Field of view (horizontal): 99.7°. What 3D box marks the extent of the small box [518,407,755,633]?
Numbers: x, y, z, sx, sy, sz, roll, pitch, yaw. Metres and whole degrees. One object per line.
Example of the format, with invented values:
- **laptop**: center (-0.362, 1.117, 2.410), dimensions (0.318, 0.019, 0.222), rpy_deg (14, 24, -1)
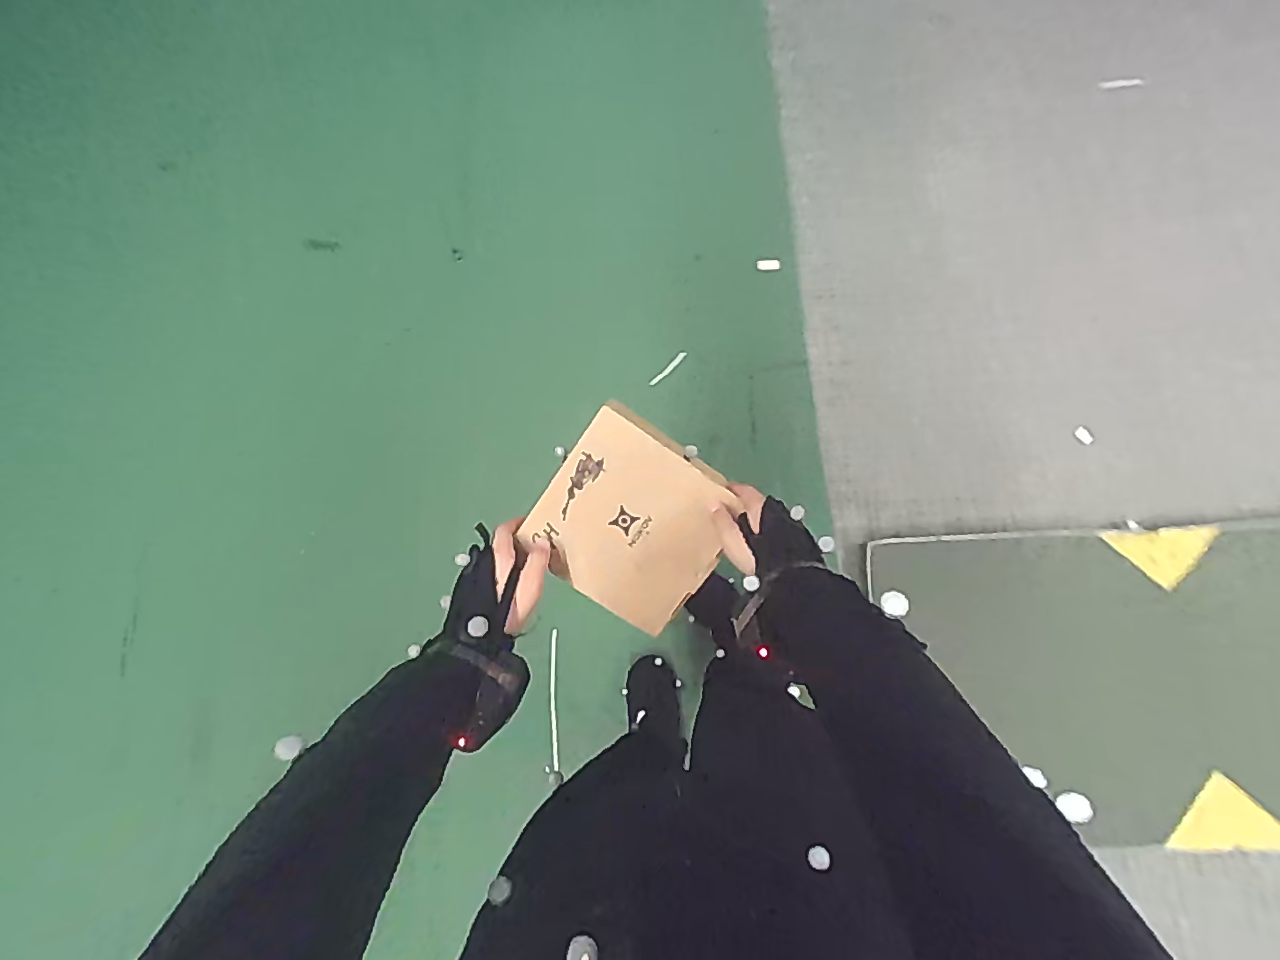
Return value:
- **small box**: center (-0.004, 0.029, 0.603), dimensions (0.179, 0.176, 0.168), rpy_deg (35, 98, -7)
